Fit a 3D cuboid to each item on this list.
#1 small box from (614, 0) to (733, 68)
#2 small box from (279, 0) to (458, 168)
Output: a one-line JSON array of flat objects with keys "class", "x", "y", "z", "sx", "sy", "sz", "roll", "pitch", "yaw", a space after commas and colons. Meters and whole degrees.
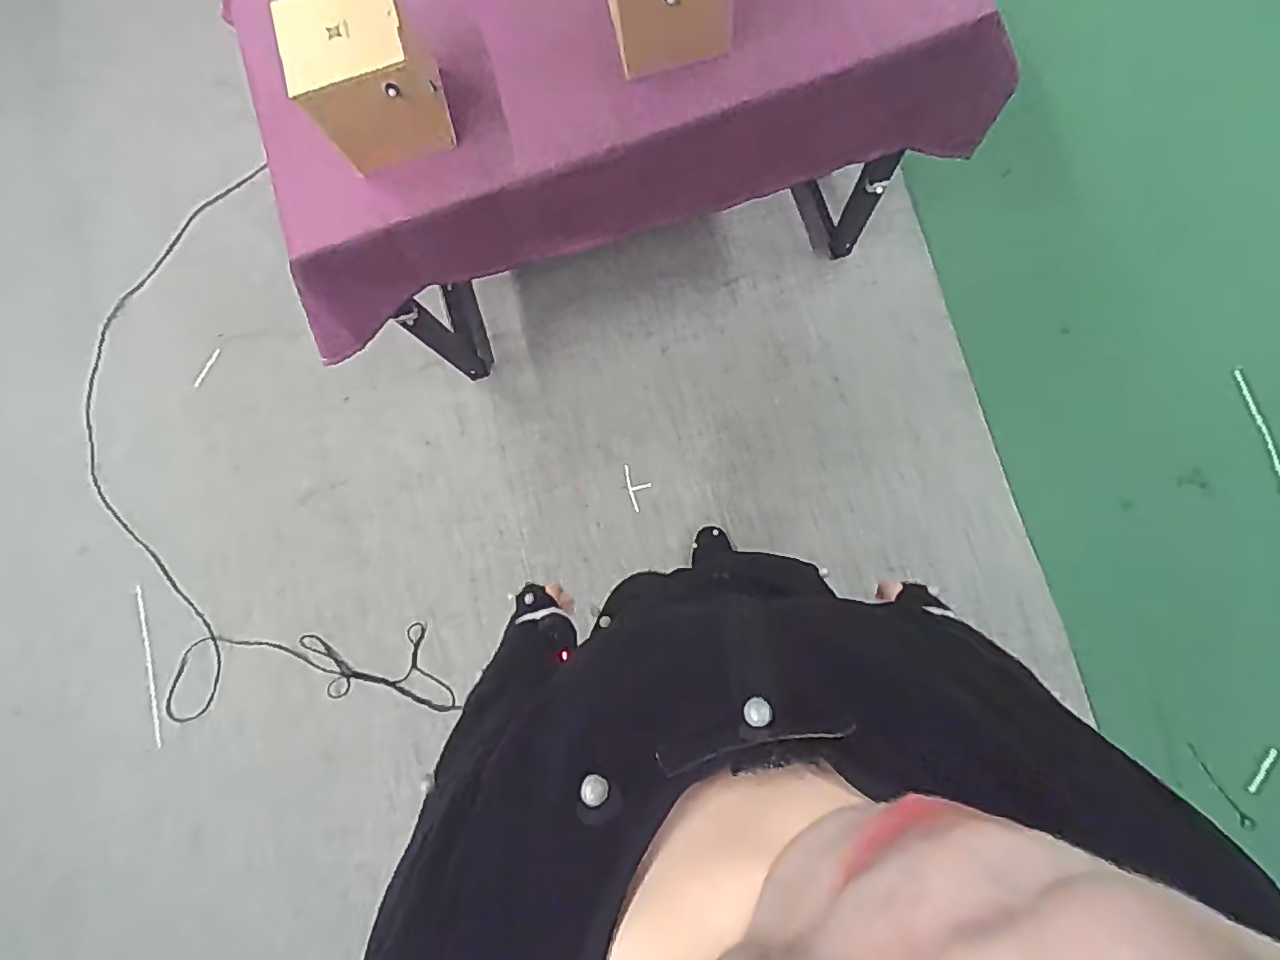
[{"class": "small box", "x": 0.042, "y": -0.770, "z": 0.812, "sx": 0.179, "sy": 0.176, "sz": 0.168, "roll": -12, "pitch": 83, "yaw": 4}, {"class": "small box", "x": -0.413, "y": -0.629, "z": 0.844, "sx": 0.179, "sy": 0.176, "sz": 0.168, "roll": -16, "pitch": 82, "yaw": 3}]
